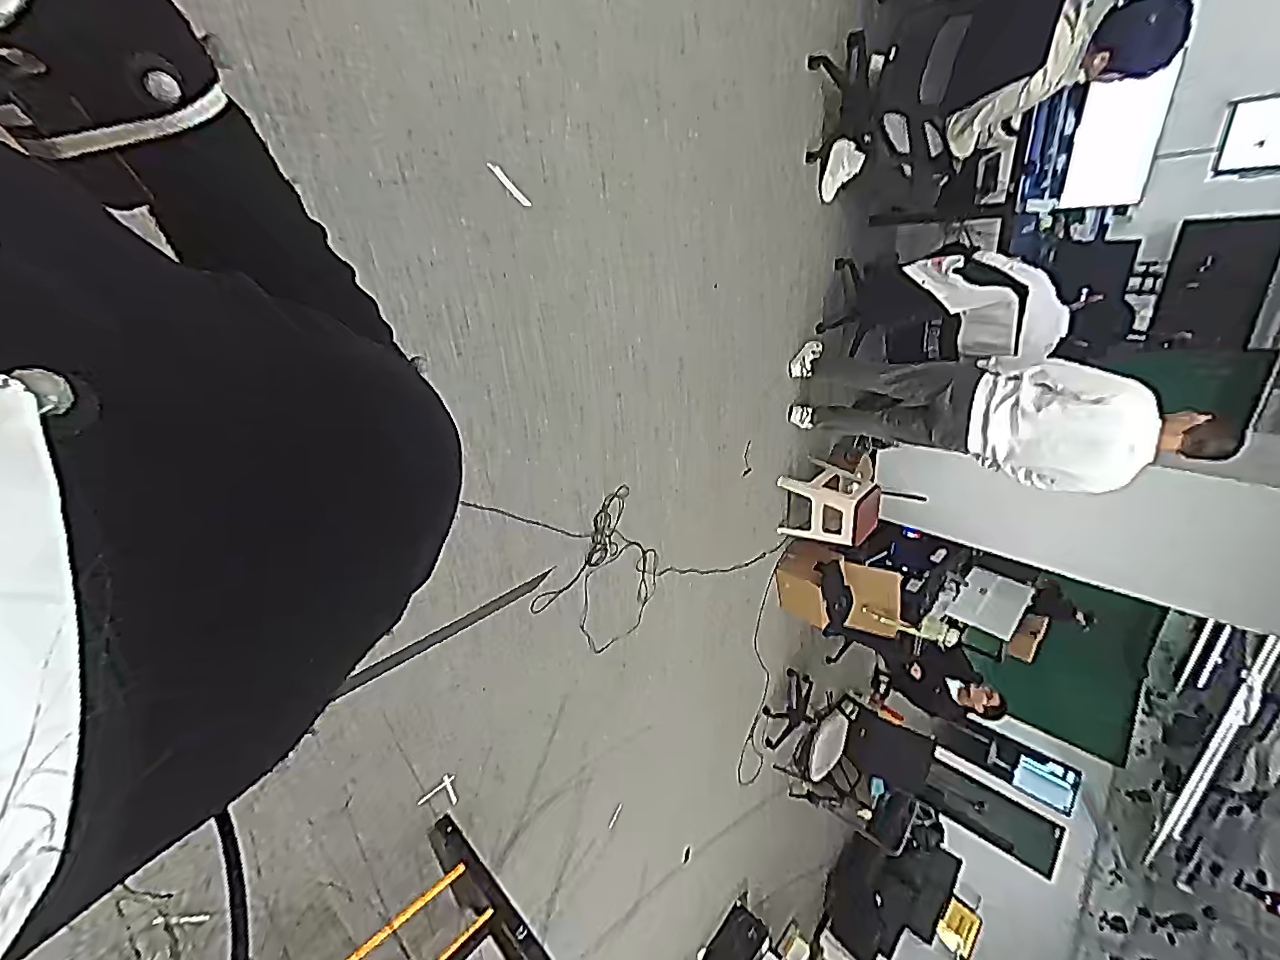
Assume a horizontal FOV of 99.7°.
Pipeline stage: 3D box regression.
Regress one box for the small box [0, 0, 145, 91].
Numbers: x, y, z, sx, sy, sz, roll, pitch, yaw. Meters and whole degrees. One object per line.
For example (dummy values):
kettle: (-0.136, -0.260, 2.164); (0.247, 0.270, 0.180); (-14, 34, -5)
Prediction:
small box: (-0.667, -0.518, 0.556); (0.179, 0.176, 0.168); (-29, 125, -39)
